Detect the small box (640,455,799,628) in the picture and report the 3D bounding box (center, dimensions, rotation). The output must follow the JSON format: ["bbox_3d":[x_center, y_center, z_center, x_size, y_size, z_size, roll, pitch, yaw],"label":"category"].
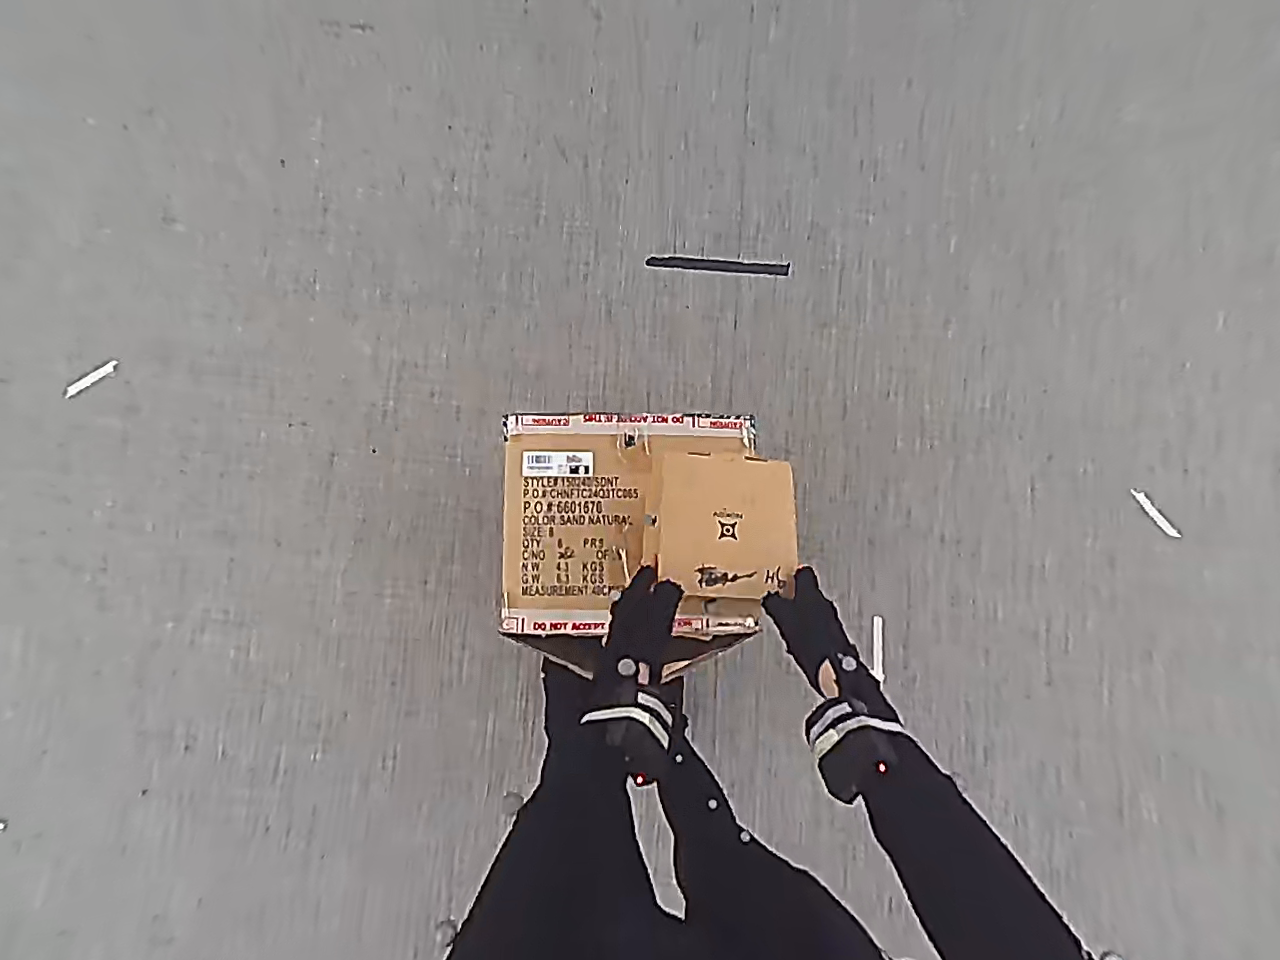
[{"bbox_3d":[0.092,0.087,0.705,0.168,0.176,0.179,5,66,-5],"label":"small box"}]
